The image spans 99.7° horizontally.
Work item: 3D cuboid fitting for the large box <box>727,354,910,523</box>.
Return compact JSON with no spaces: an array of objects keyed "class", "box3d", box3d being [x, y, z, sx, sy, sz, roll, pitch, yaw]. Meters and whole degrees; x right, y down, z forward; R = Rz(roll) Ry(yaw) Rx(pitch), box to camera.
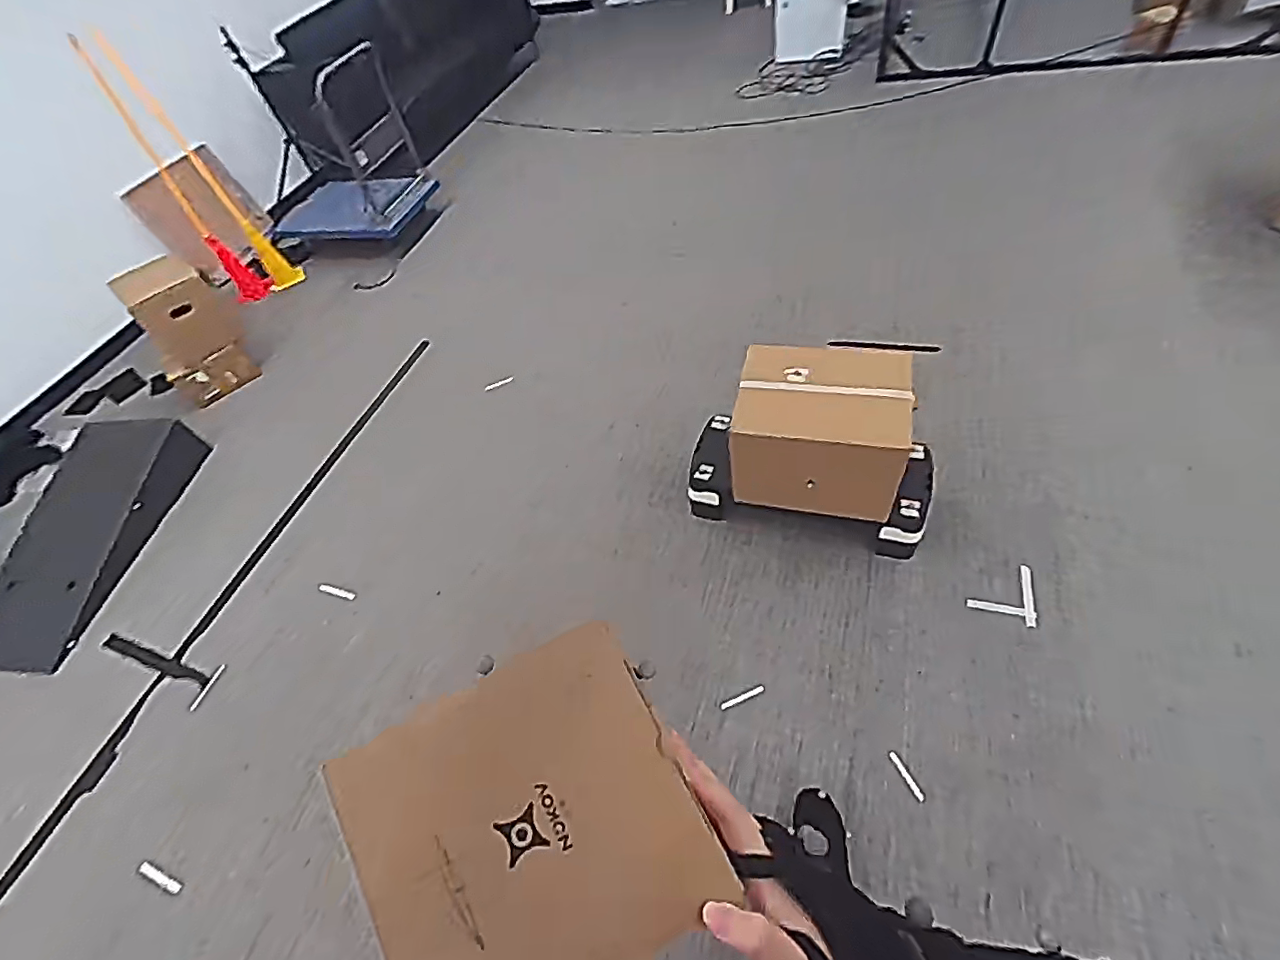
[{"class":"large box","box3d":[0.464,-0.109,1.423,0.408,0.320,0.320,6,55,18]}]
